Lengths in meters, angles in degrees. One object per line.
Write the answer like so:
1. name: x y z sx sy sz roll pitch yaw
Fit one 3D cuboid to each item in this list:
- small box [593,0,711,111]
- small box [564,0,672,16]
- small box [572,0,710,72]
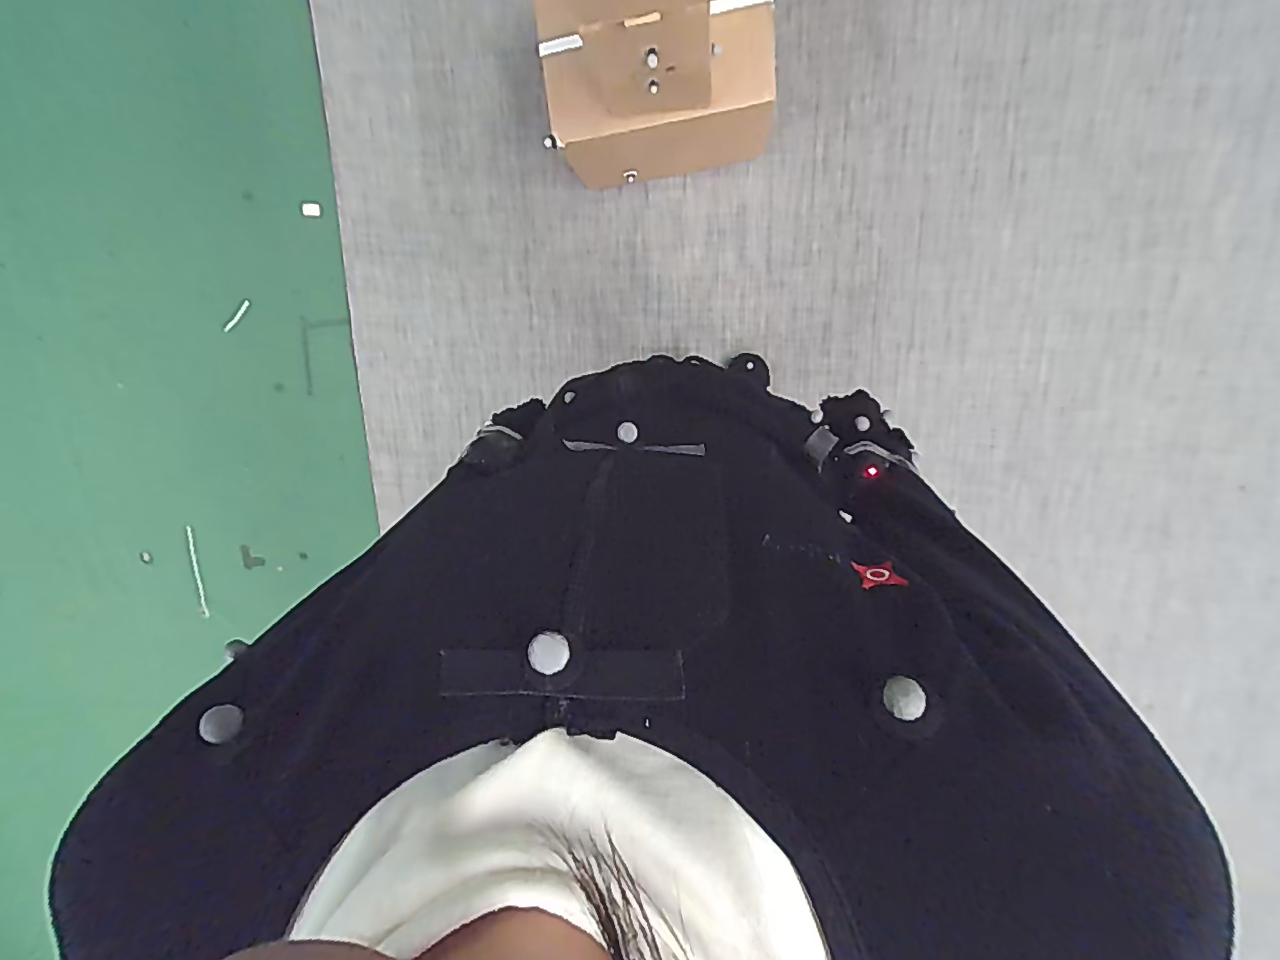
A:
1. small box: 0.022 -0.714 0.857 0.179 0.176 0.168 -2 106 8
2. small box: -0.017 -0.618 0.545 0.179 0.176 0.168 -2 105 10
3. small box: 0.002 -0.666 0.702 0.168 0.176 0.179 -4 106 10
